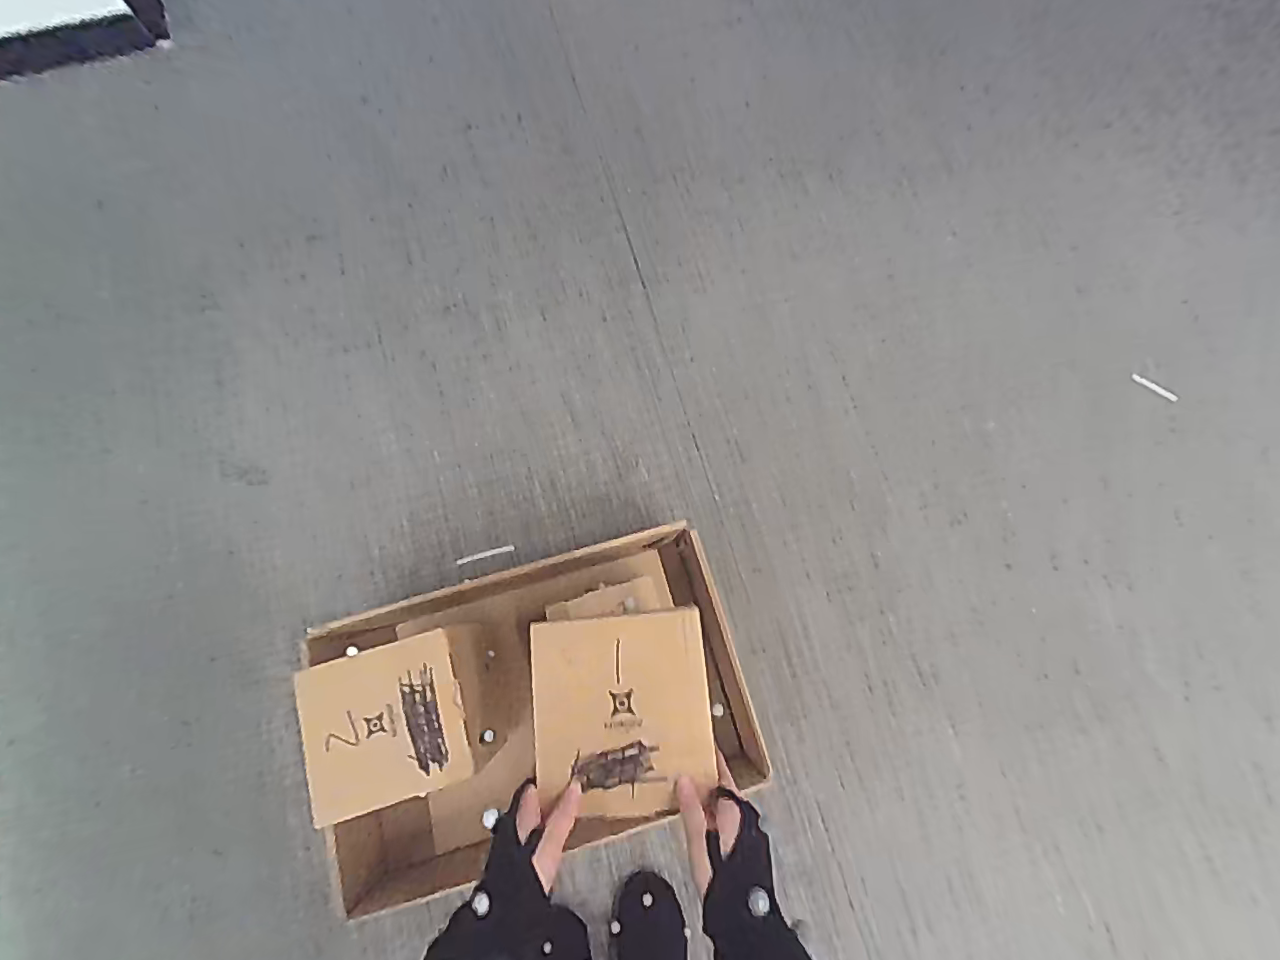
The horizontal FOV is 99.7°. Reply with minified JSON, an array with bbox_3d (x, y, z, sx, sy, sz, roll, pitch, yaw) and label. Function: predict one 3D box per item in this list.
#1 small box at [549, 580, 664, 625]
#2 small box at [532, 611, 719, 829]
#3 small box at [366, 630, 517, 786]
[{"bbox_3d":[-0.034,0.266,0.857,0.168,0.176,0.179,-16,77,-5],"label":"small box"},{"bbox_3d":[-0.010,0.236,0.572,0.168,0.176,0.179,-6,77,2],"label":"small box"},{"bbox_3d":[-0.297,0.338,0.836,0.168,0.176,0.179,-12,76,-5],"label":"small box"}]
